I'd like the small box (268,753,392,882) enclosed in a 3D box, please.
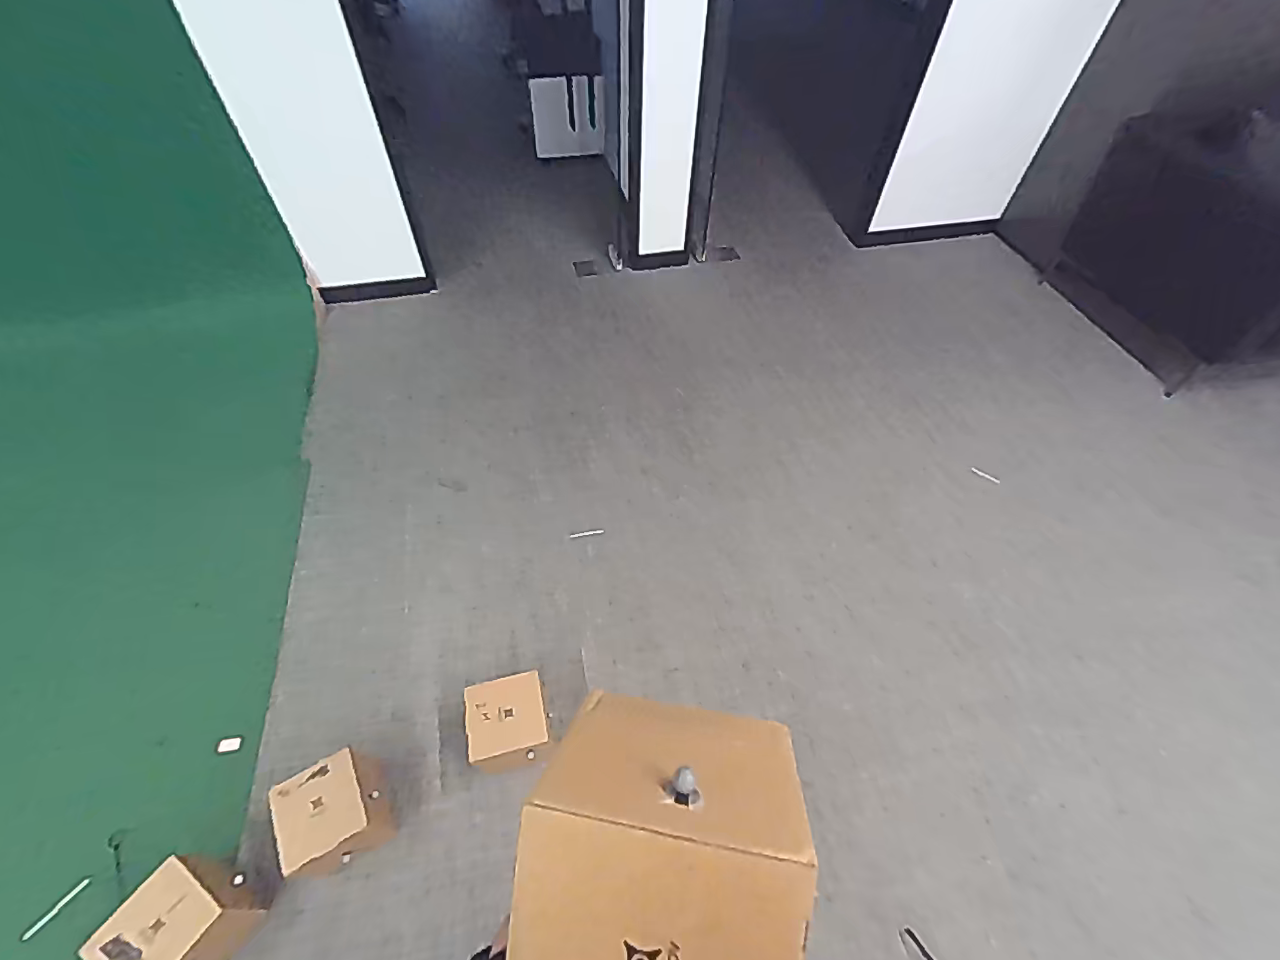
[{"bbox_3d":[-0.664,0.730,1.172,0.168,0.176,0.179,-25,57,-19],"label":"small box"}]

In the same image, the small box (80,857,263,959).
[{"bbox_3d":[-0.893,0.879,1.049,0.168,0.176,0.179,27,55,19],"label":"small box"}]

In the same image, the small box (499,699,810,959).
[{"bbox_3d":[0.013,0.283,0.399,0.179,0.176,0.168,7,92,8],"label":"small box"}]

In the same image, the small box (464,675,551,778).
[{"bbox_3d":[-0.310,0.590,1.290,0.179,0.176,0.168,-11,53,-10],"label":"small box"}]
